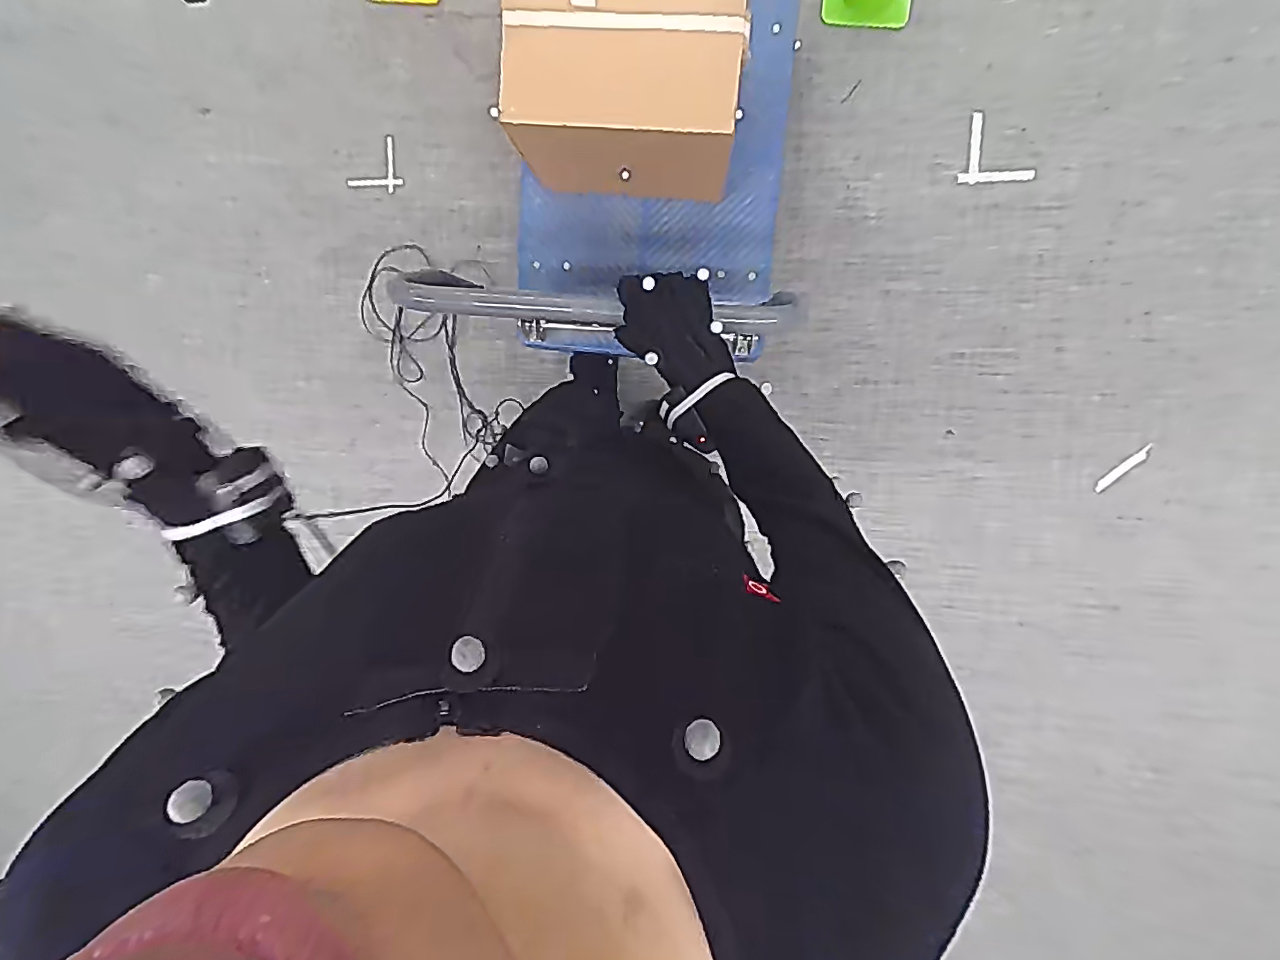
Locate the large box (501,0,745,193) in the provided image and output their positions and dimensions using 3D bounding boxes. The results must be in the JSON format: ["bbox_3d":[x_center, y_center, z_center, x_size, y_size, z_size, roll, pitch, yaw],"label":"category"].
[{"bbox_3d":[-0.015,-0.772,1.037,0.408,0.320,0.320,6,99,5],"label":"large box"}]

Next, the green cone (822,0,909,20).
[{"bbox_3d":[0.520,-1.155,1.080,0.202,0.368,0.200,7,99,3],"label":"green cone"}]
